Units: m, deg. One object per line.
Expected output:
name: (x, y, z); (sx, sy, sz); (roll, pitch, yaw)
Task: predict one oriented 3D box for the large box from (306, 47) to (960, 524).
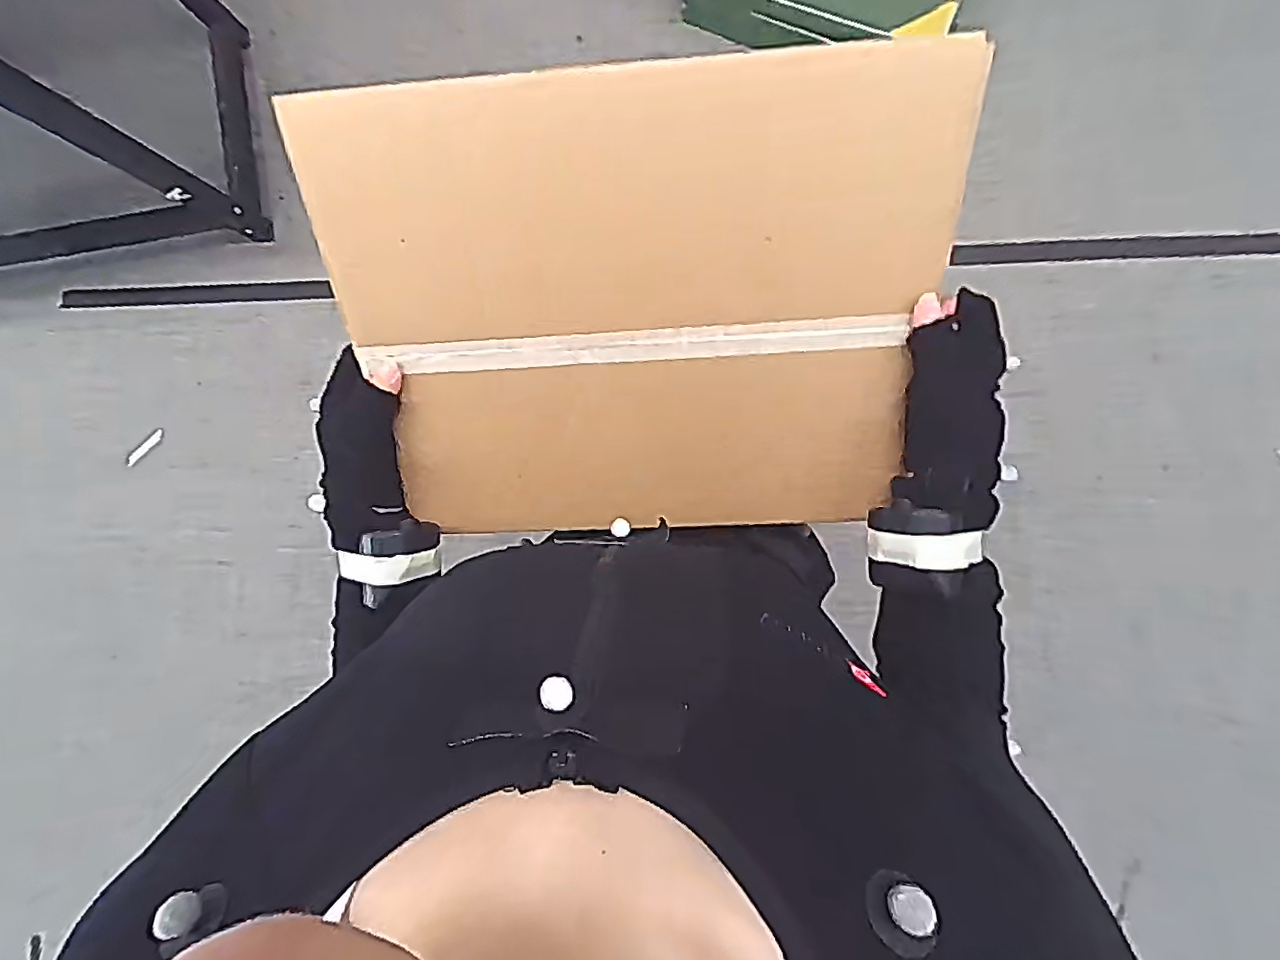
large box: (0.006, -0.177, 0.523); (0.408, 0.320, 0.320); (-3, 120, 4)
